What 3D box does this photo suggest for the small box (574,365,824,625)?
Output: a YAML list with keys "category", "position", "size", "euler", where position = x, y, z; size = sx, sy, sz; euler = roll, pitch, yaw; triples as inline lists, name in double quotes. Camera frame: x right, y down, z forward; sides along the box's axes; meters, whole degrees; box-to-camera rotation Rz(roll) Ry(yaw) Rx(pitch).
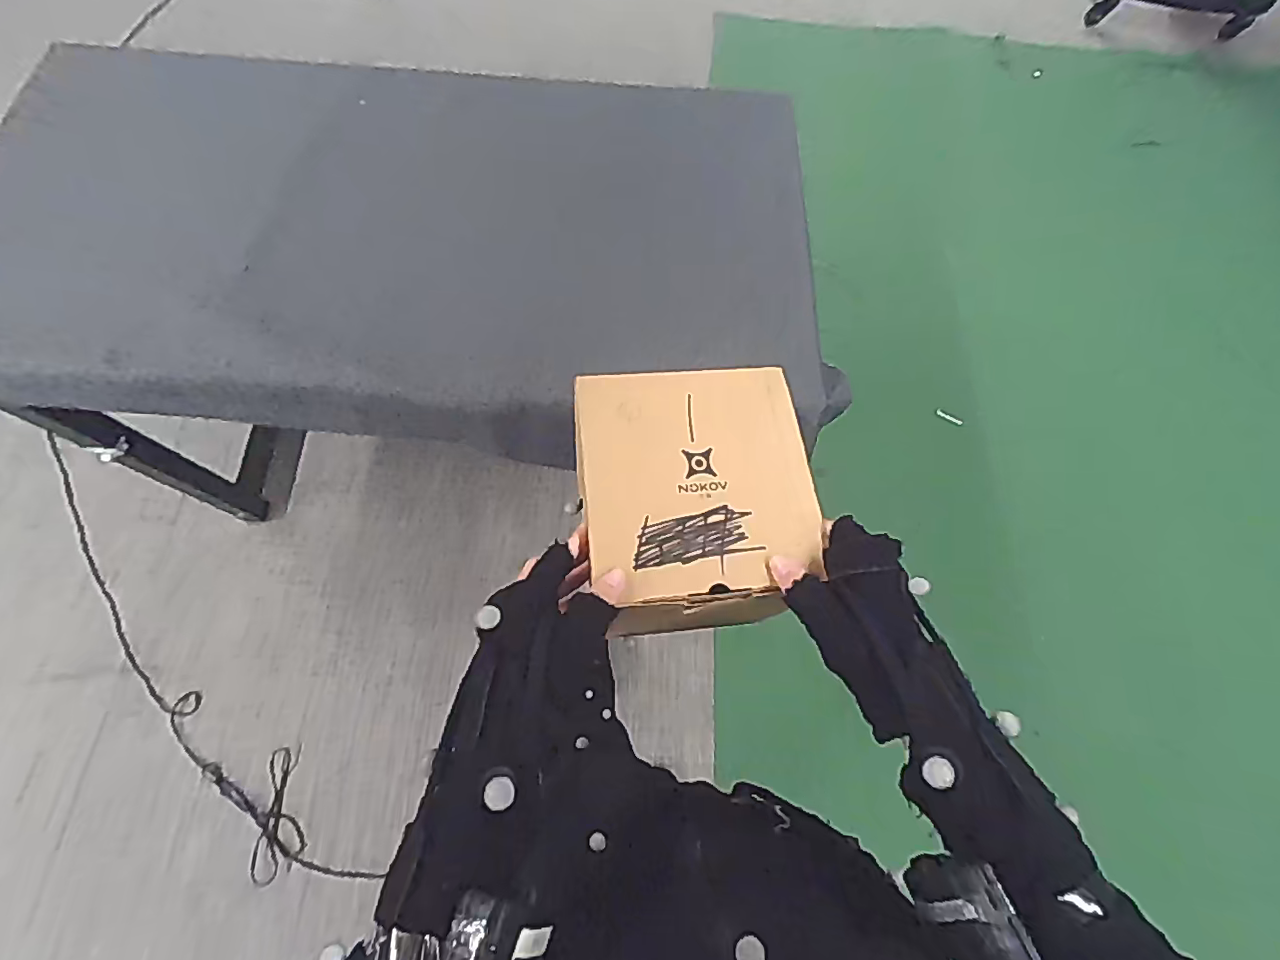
- category: "small box"
  position: [0.031, 0.023, 0.465]
  size: [0.168, 0.176, 0.179]
  euler: [-3, 66, -8]
